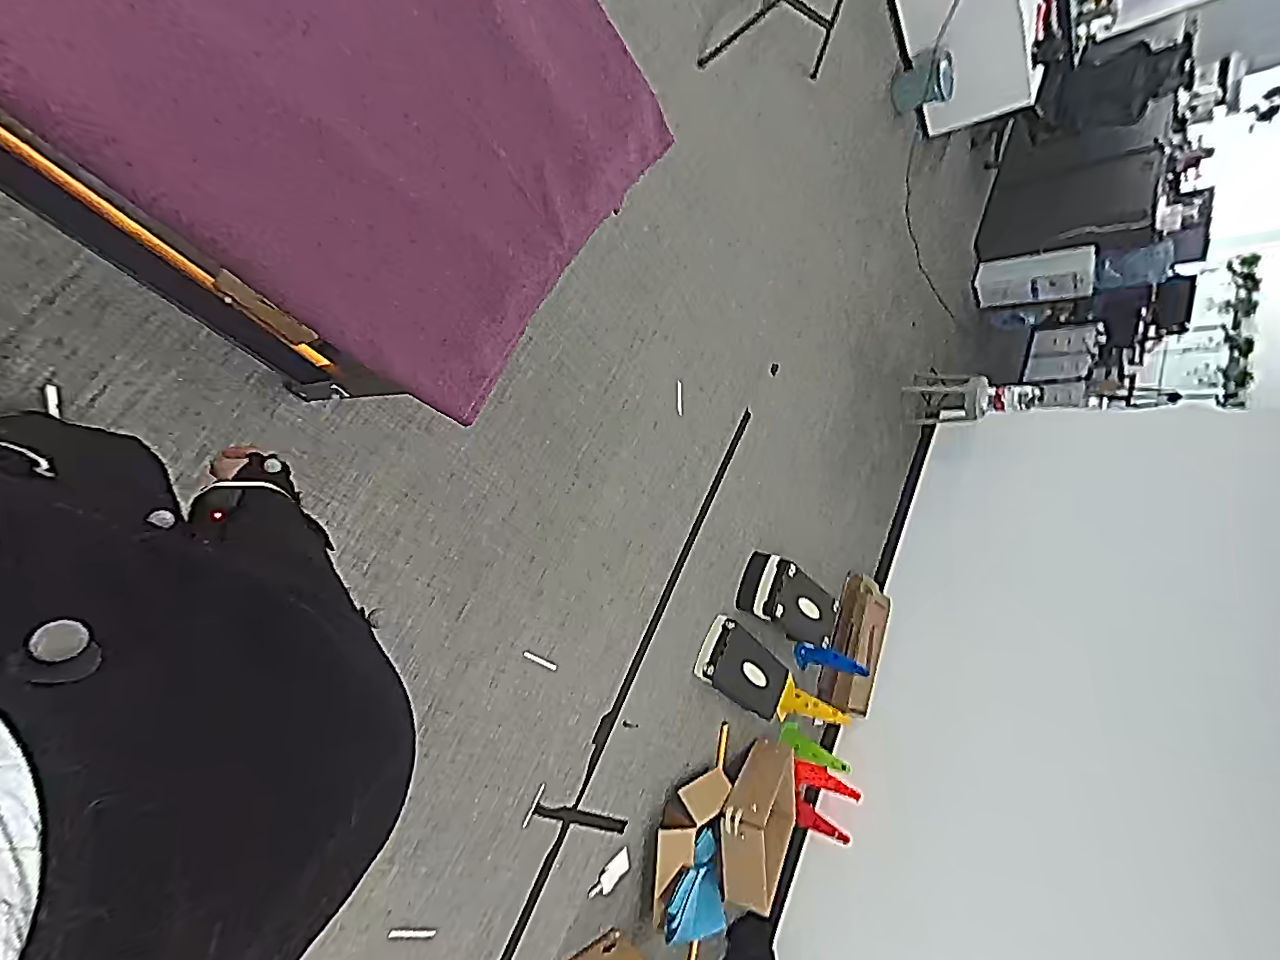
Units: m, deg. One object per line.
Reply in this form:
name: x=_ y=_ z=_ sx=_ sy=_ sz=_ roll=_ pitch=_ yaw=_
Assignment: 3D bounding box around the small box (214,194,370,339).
small box: x=-0.648 y=-0.383 z=1.003 sx=0.168 sy=0.176 sz=0.179 roll=44 pitch=64 yaw=-39
